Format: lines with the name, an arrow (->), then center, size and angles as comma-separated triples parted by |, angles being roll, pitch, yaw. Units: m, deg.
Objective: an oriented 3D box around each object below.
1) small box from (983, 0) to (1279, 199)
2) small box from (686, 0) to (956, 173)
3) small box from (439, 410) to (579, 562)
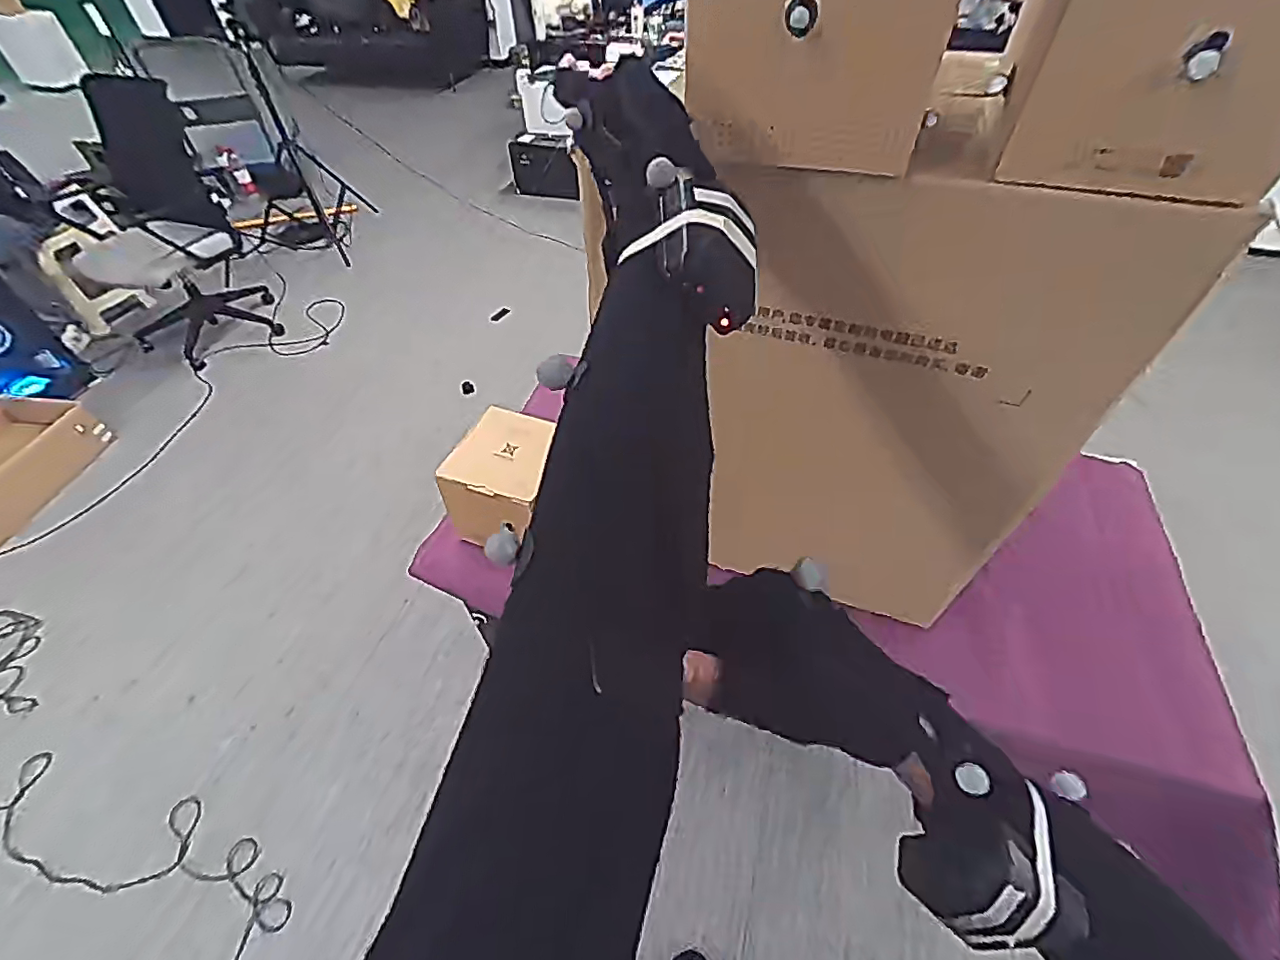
small box -> 0.362, -0.317, 0.373 | 0.168, 0.176, 0.179 | 15, 53, 14
small box -> 0.140, -0.357, 0.416 | 0.179, 0.176, 0.168 | 12, 51, 13
small box -> -0.209, 0.013, 0.926 | 0.168, 0.176, 0.179 | 16, 48, 11
